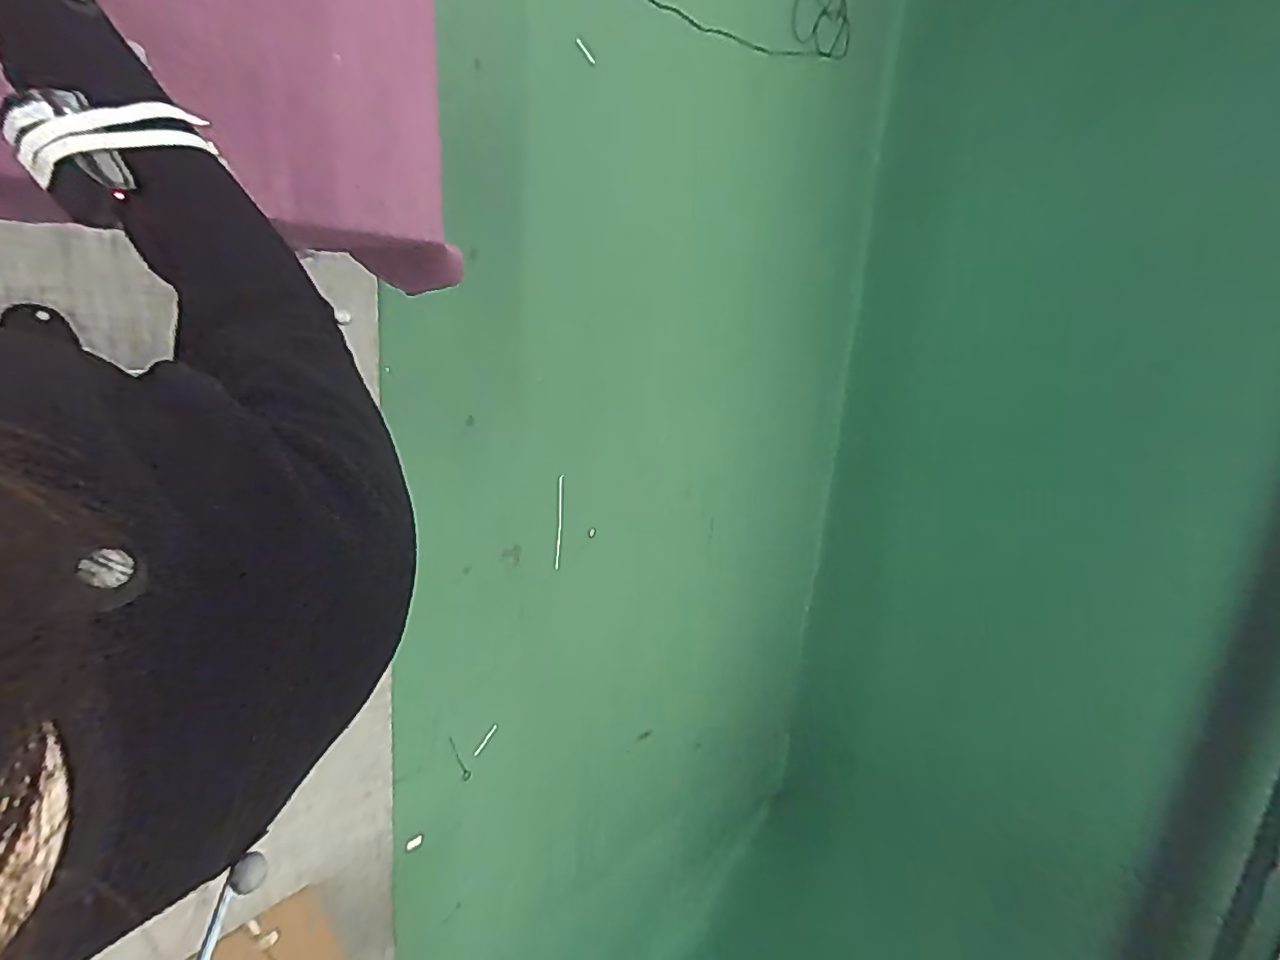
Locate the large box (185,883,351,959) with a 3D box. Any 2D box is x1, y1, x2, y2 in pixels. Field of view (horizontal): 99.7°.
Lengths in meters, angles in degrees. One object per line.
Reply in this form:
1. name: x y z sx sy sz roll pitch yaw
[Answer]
1. large box: -0.988 1.433 1.456 0.320 0.320 0.408 -12 111 -47
